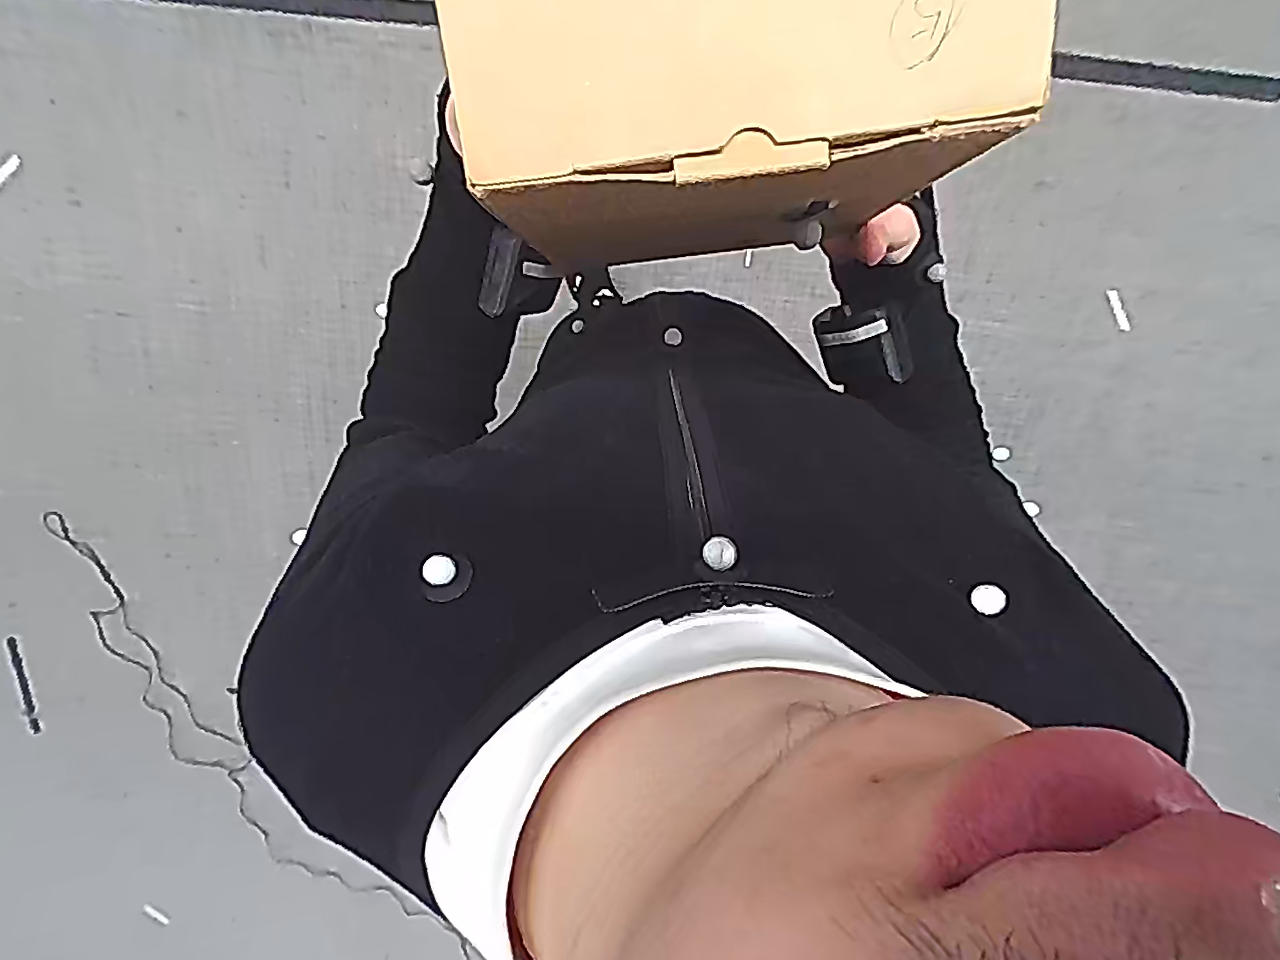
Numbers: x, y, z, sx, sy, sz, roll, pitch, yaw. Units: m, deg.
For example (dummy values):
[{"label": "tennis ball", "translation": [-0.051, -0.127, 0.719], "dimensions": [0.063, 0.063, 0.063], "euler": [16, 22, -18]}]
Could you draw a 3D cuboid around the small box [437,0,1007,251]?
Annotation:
[{"label": "small box", "translation": [0.020, -0.202, 0.223], "dimensions": [0.168, 0.176, 0.179], "euler": [-6, 103, 2]}]
